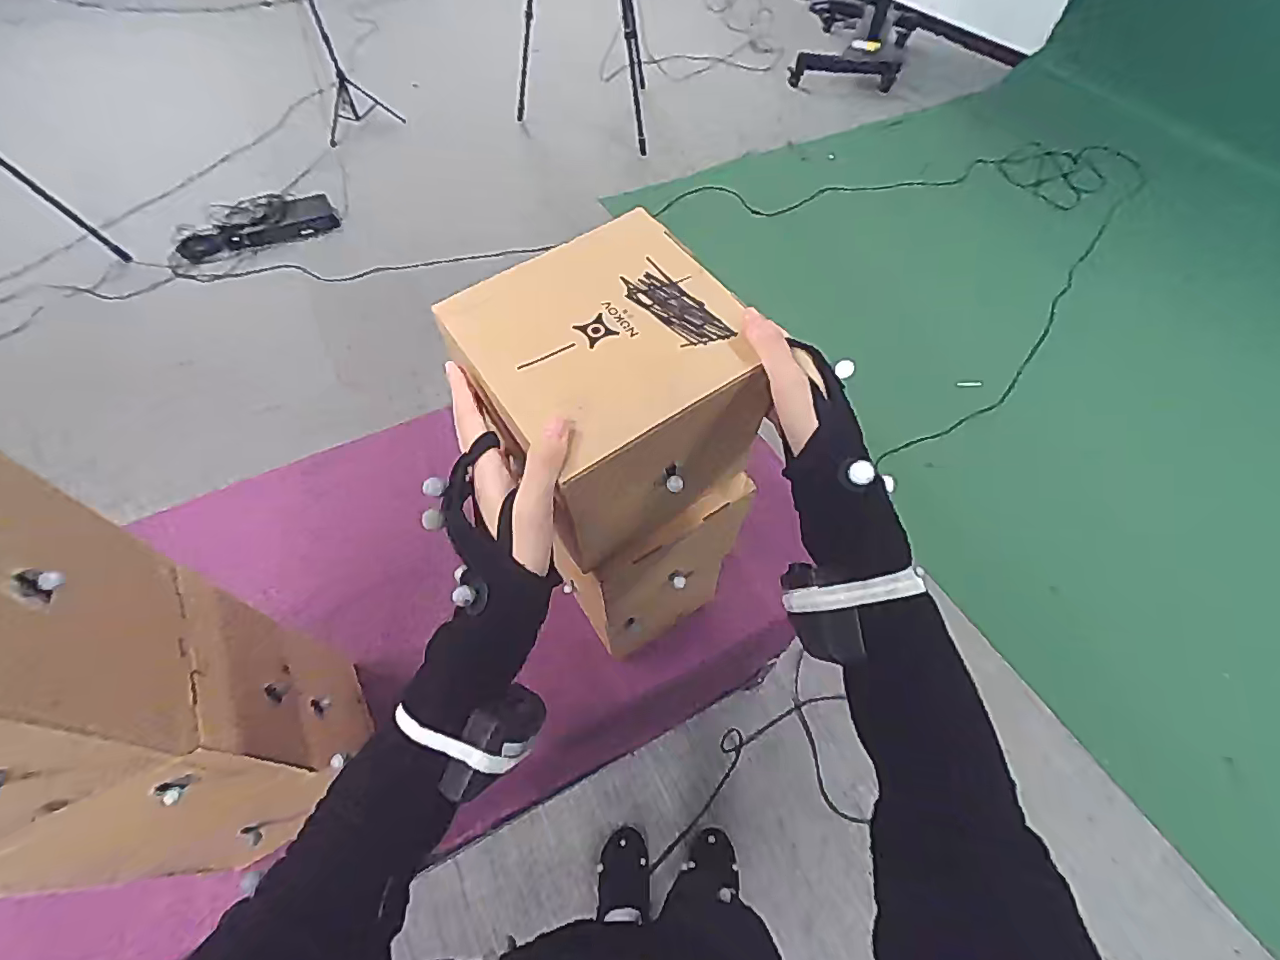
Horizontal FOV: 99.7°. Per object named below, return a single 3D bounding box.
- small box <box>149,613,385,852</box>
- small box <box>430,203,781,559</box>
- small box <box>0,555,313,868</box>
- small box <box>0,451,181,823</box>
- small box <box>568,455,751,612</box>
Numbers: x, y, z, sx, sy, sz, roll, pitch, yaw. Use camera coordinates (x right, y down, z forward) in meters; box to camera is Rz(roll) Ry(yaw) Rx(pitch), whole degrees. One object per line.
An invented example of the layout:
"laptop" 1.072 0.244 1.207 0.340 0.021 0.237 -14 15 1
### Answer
"small box" -0.421 0.284 0.602 0.179 0.176 0.168 -27 61 -15
"small box" -0.025 -0.067 0.421 0.179 0.176 0.168 -32 68 -15
"small box" -0.422 0.201 0.462 0.179 0.176 0.168 -26 59 -16
"small box" -0.424 0.108 0.329 0.168 0.176 0.179 -24 59 -16
"small box" -0.014 0.011 0.566 0.168 0.176 0.179 -30 67 -14
